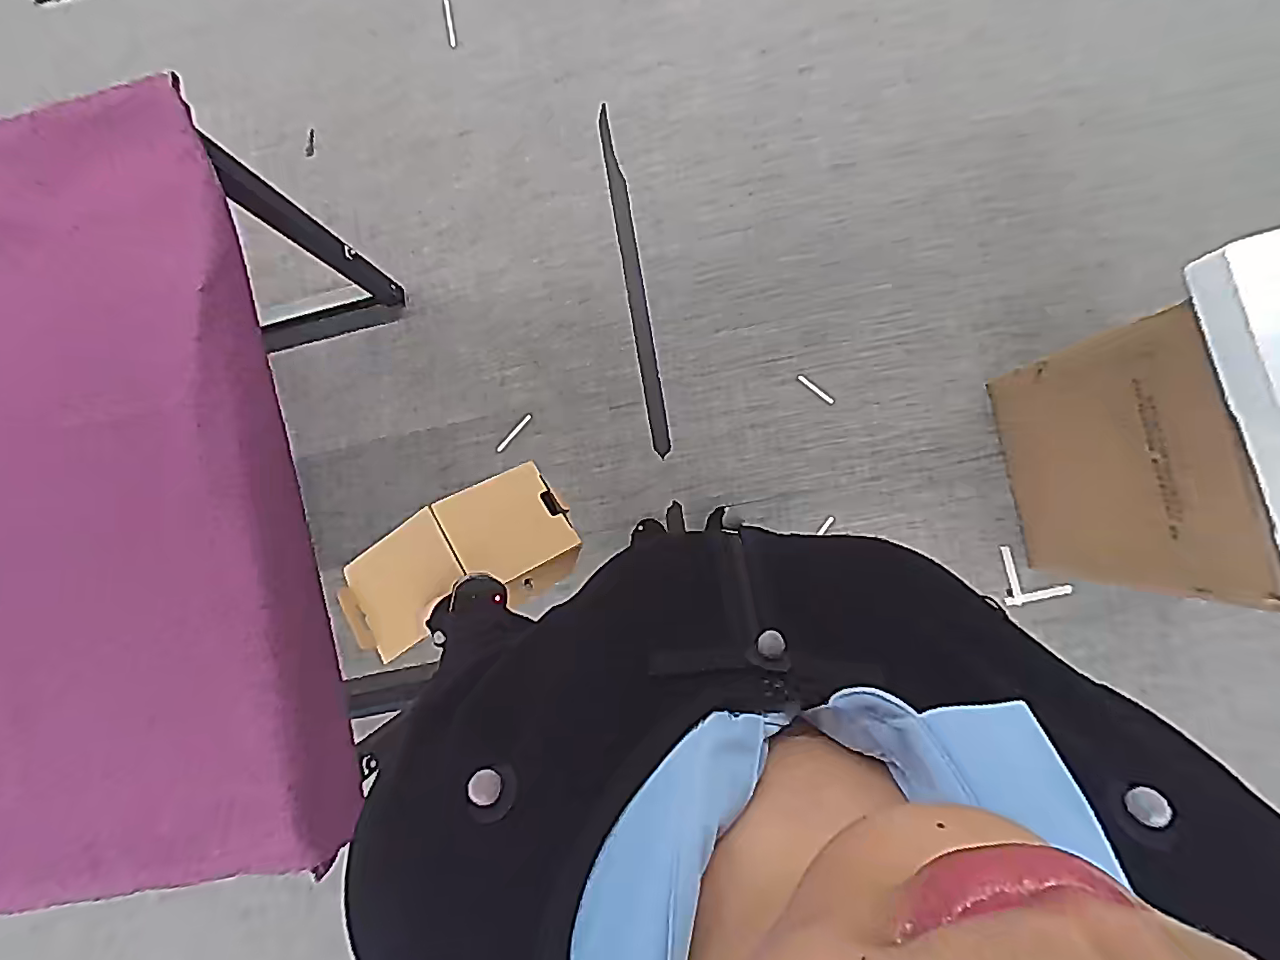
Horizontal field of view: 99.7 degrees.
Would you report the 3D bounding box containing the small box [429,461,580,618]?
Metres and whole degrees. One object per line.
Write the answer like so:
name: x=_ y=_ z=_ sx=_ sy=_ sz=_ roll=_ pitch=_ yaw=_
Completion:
small box: x=-0.217 y=0.103 z=0.880 sx=0.179 sy=0.176 sz=0.168 roll=-26 pitch=74 yaw=-24
